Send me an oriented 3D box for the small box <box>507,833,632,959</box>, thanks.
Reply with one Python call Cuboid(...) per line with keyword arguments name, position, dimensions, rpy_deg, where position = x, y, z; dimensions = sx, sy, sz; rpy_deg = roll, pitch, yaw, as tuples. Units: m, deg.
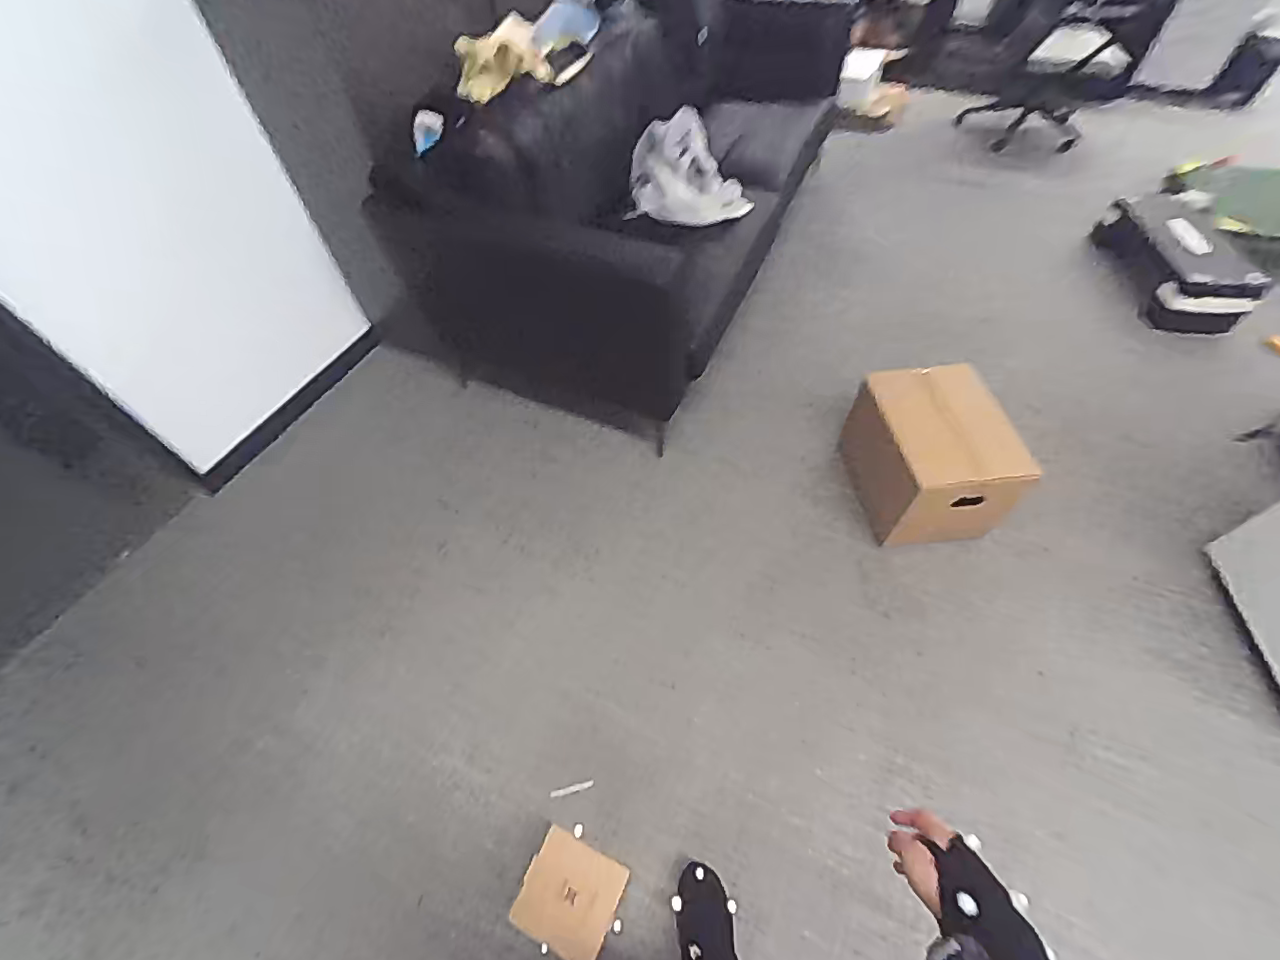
Cuboid(name="small box", position=(-0.127, 0.826, 1.055), dimensions=(0.179, 0.176, 0.168), rpy_deg=(20, 58, 16))
